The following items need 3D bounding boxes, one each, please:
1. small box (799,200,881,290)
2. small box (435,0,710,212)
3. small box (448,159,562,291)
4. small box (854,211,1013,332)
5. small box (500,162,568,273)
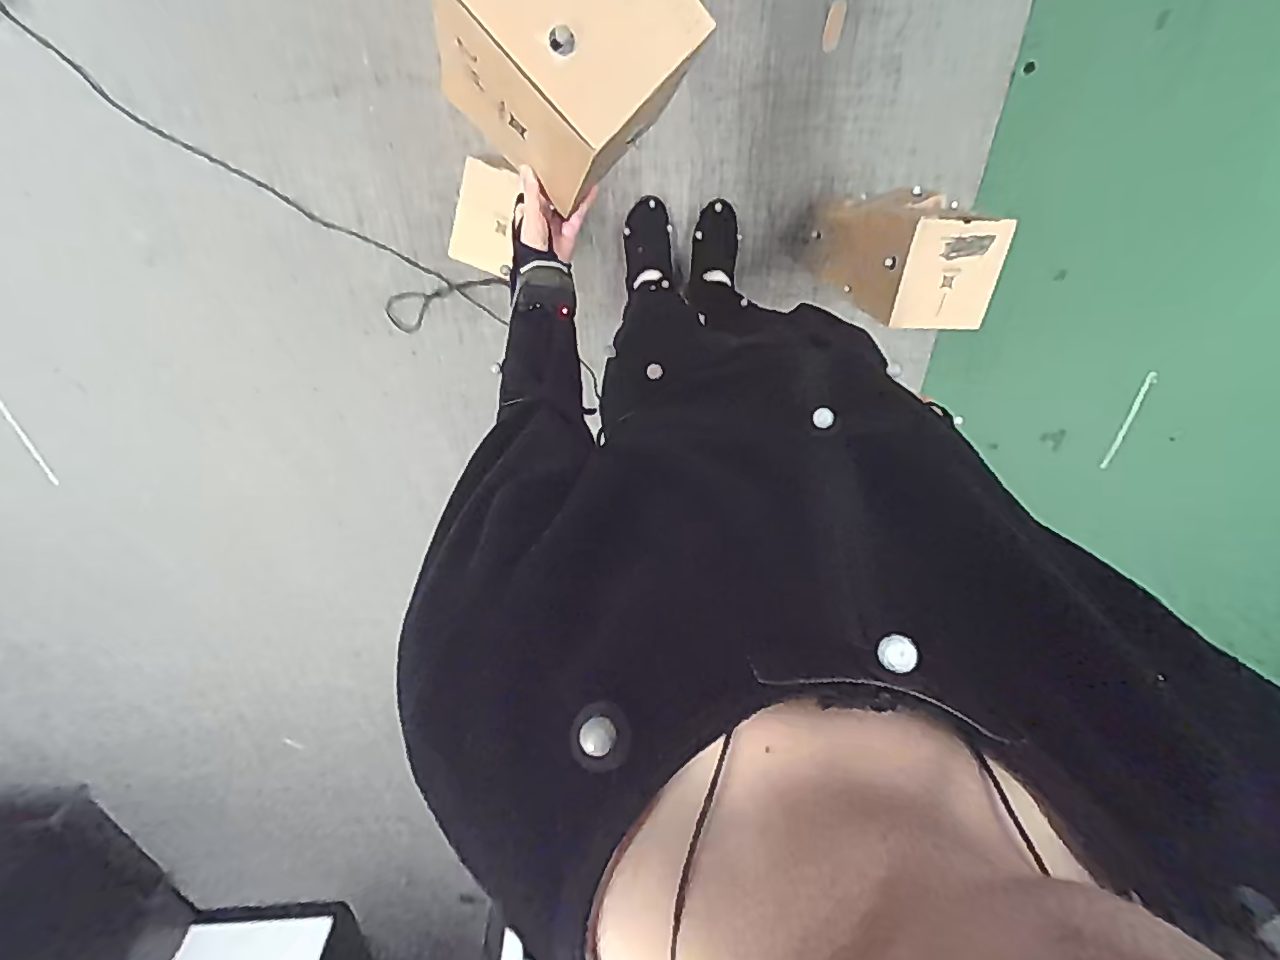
[{"bbox_3d":[0.489,-0.538,1.244,0.179,0.176,0.168,8,121,-7],"label":"small box"},{"bbox_3d":[-0.065,-0.403,0.511,0.179,0.168,0.176,43,84,-19],"label":"small box"},{"bbox_3d":[-0.252,-0.494,1.046,0.168,0.176,0.179,18,118,-12],"label":"small box"},{"bbox_3d":[0.502,-0.374,0.959,0.168,0.176,0.179,0,122,-4],"label":"small box"},{"bbox_3d":[-0.250,-0.579,1.183,0.168,0.176,0.179,12,120,-9],"label":"small box"}]
